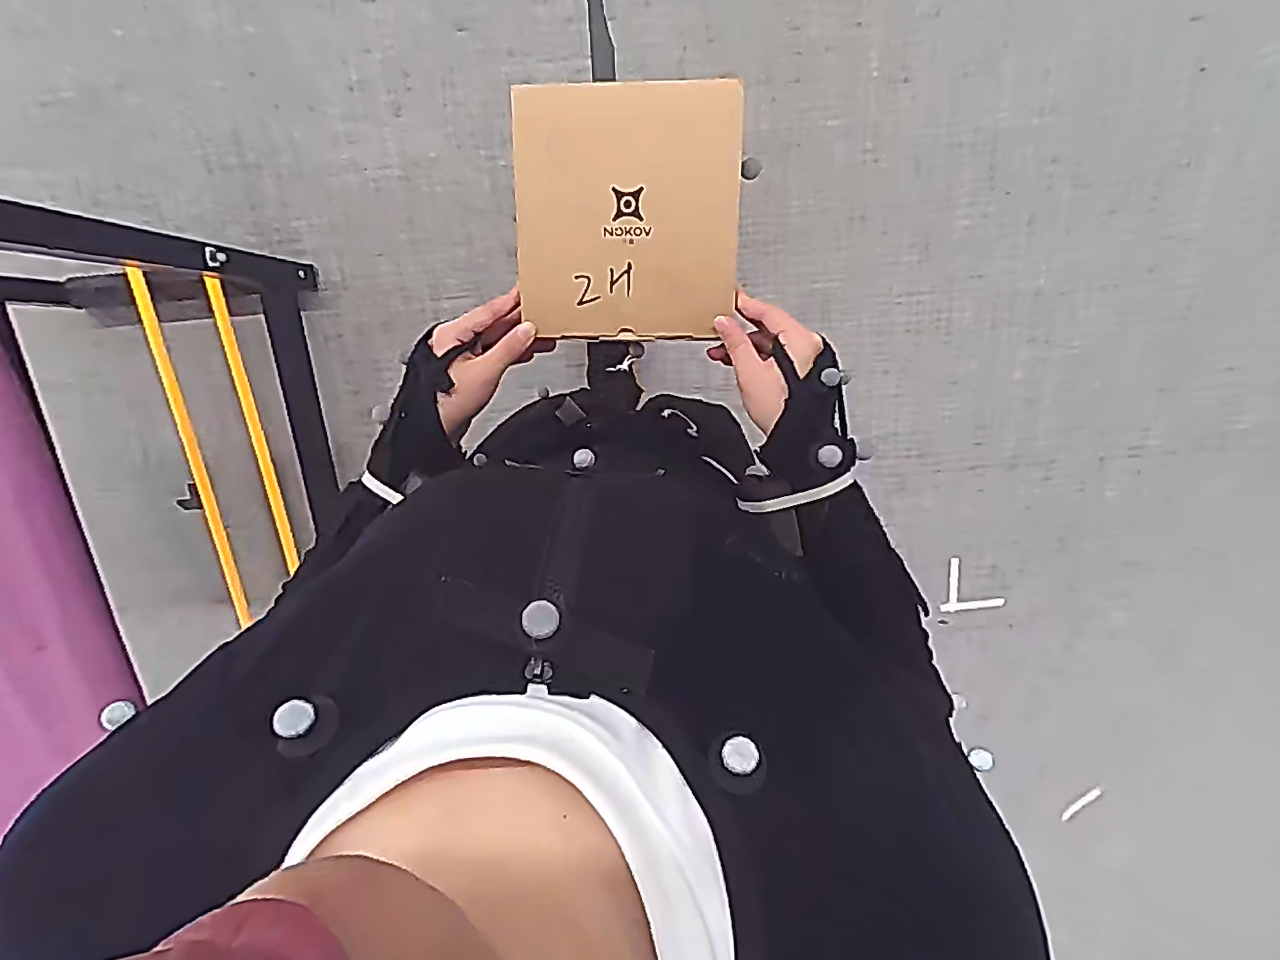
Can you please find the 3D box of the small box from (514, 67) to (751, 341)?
[{"bbox_3d":[-0.002,-0.213,0.464,0.168,0.176,0.179,1,104,5],"label":"small box"}]
